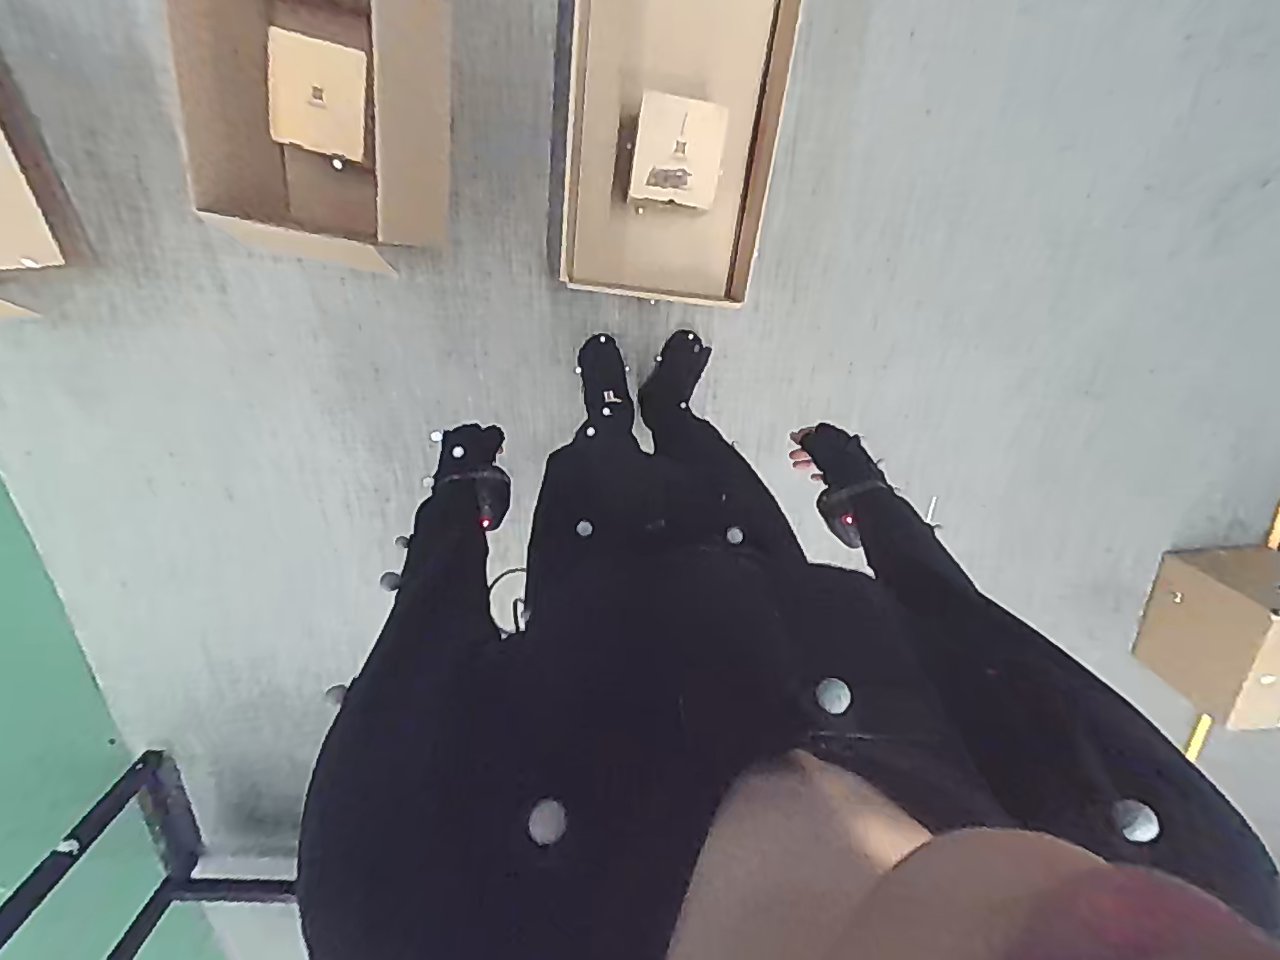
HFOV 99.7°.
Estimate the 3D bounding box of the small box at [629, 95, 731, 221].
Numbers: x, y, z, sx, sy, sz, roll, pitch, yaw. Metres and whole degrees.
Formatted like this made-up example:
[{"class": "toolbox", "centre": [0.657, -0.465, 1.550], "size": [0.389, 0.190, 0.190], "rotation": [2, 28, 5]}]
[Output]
[{"class": "small box", "centre": [0.071, -0.633, 1.086], "size": [0.168, 0.176, 0.179], "rotation": [7, 110, -6]}]
